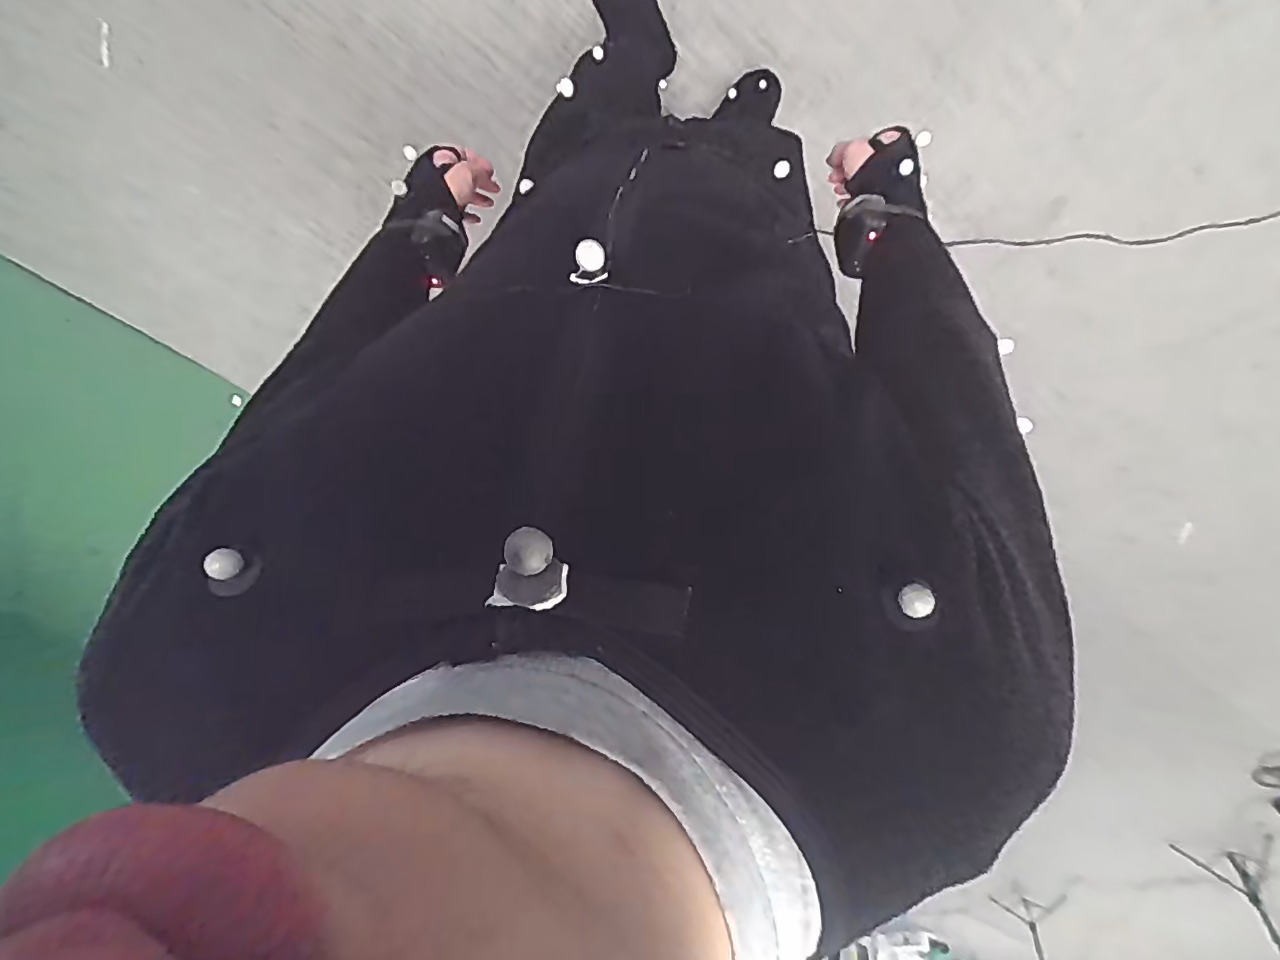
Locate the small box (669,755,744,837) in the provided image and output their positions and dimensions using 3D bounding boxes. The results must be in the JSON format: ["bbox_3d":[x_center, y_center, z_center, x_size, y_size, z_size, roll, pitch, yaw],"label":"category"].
[{"bbox_3d":[0.209,0.991,1.701,0.168,0.176,0.179,29,131,-13],"label":"small box"}]
